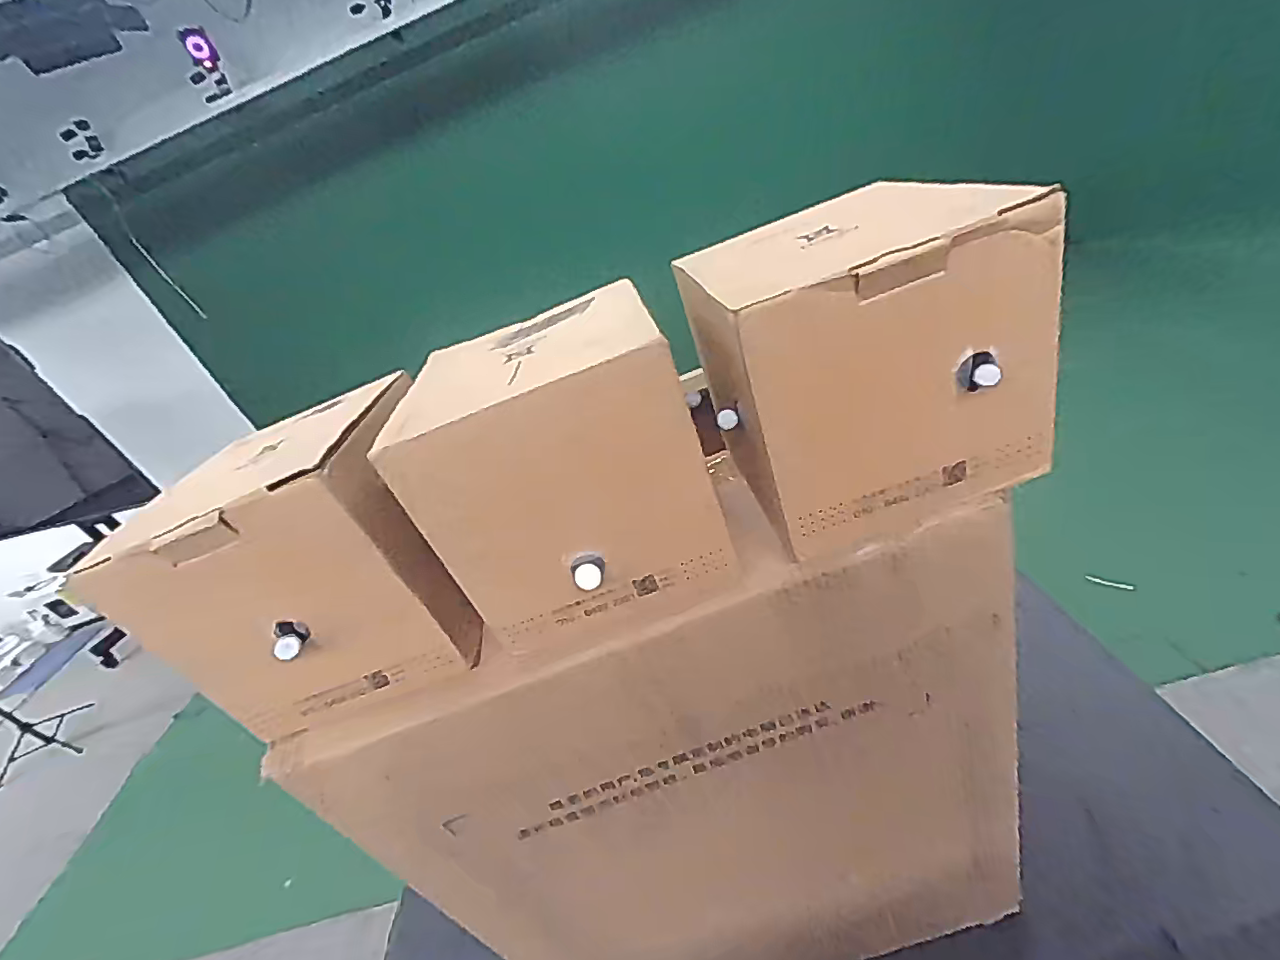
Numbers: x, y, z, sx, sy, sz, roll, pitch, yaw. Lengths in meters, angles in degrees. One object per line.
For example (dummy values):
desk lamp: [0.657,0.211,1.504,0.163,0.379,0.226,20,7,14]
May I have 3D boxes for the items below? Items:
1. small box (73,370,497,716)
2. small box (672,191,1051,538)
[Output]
small box: [-0.224,0.048,0.406,0.168,0.176,0.179,-21,30,5]
small box: [0.135,-0.079,0.373,0.168,0.176,0.179,-19,29,1]
